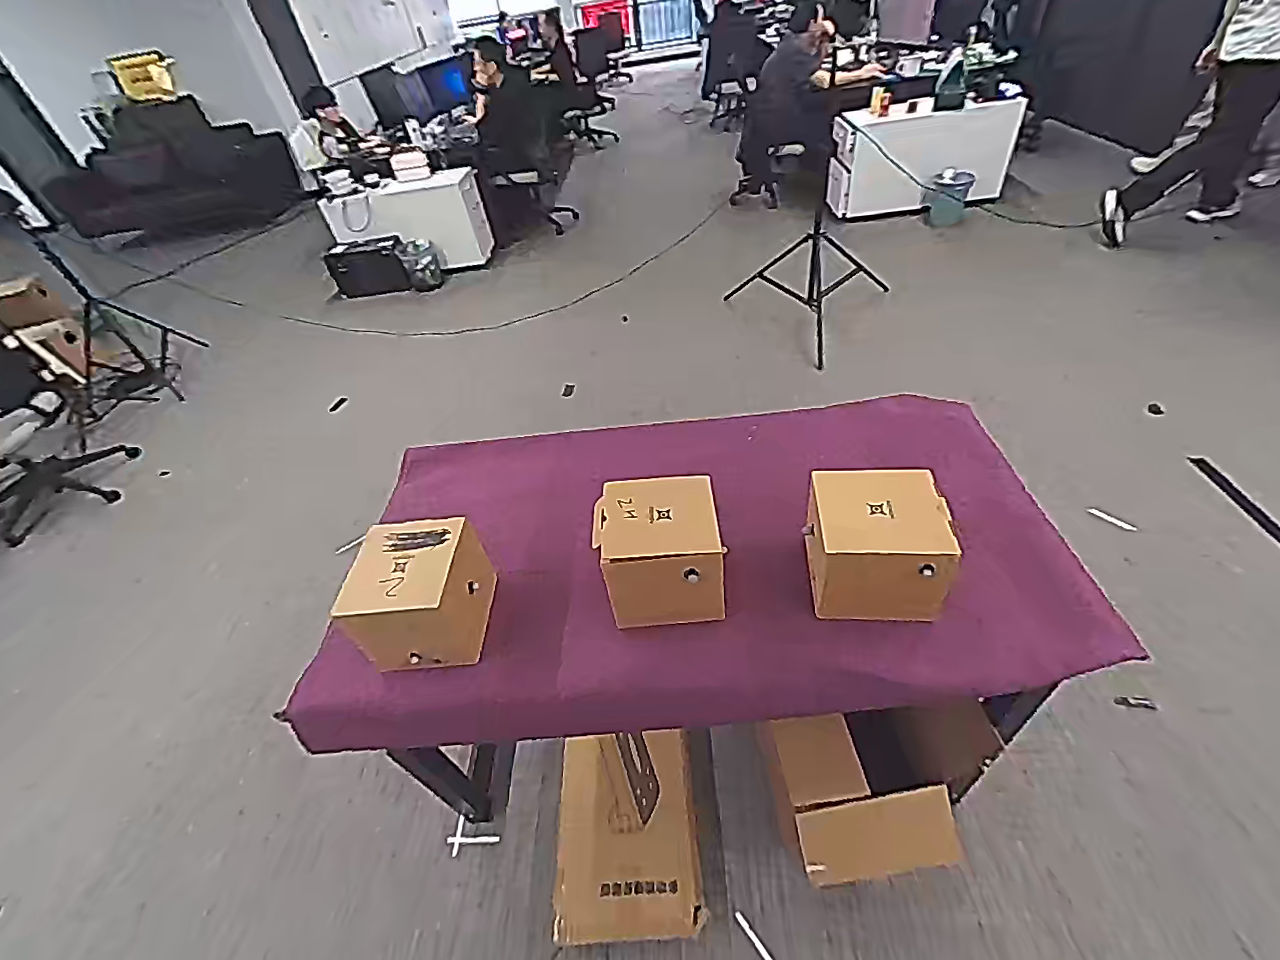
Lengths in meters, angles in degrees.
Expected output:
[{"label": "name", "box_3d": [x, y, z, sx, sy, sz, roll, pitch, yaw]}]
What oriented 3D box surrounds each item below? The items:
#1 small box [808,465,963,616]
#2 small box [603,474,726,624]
[{"label": "small box", "box_3d": [0.357, 0.094, 0.830, 0.179, 0.176, 0.168, -1, 44, 9]}, {"label": "small box", "box_3d": [0.042, 0.112, 0.869, 0.179, 0.176, 0.168, -7, 41, 4]}]
